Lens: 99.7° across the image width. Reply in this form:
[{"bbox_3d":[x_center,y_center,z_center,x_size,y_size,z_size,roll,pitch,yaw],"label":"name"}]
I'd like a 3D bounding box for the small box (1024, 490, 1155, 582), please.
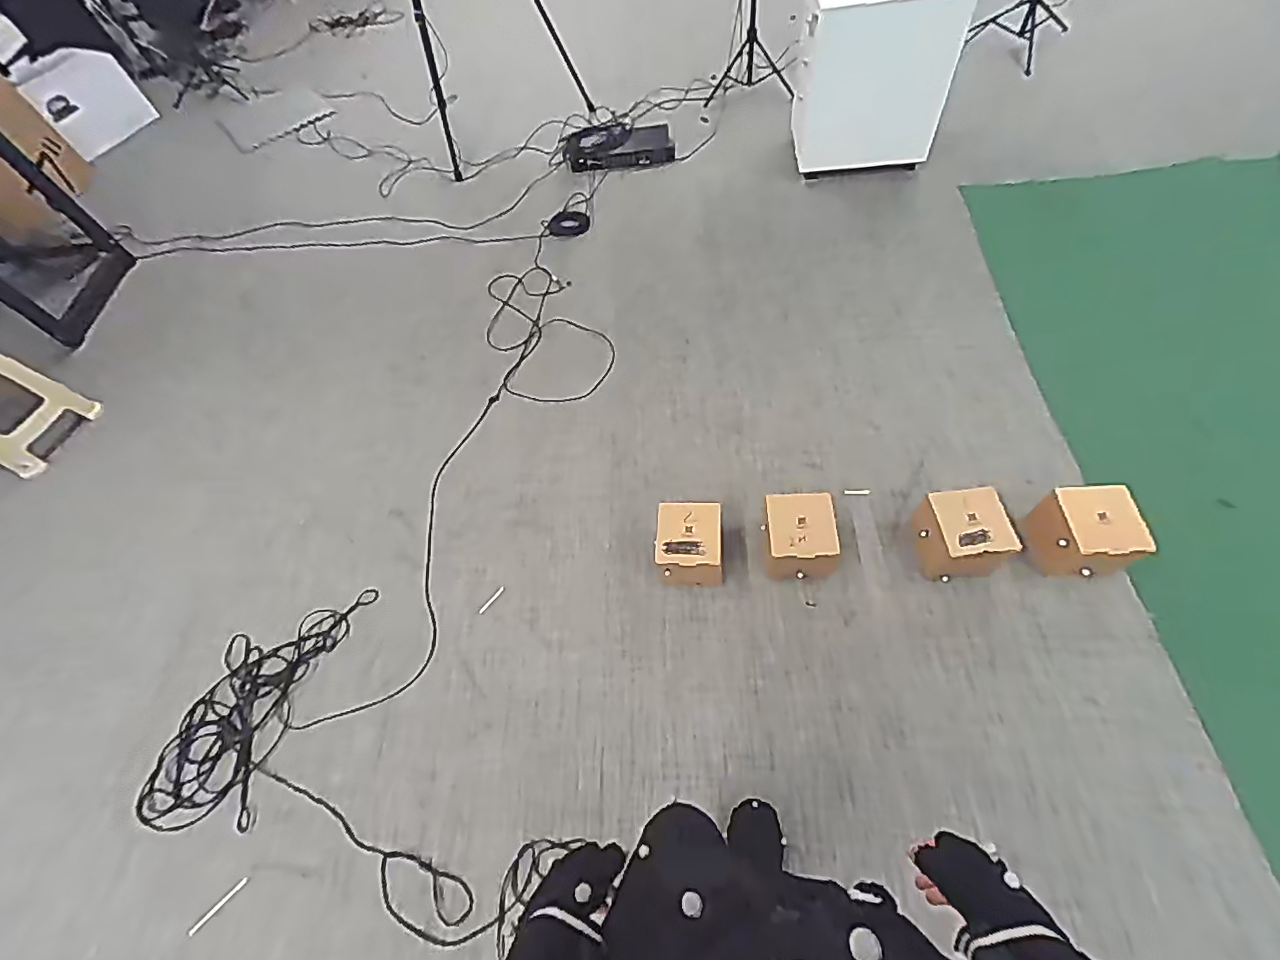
[{"bbox_3d":[1.110,0.143,1.357,0.168,0.176,0.179,-4,59,6],"label":"small box"}]

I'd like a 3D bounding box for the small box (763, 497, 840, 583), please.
[{"bbox_3d":[0.419,0.162,1.434,0.168,0.176,0.179,-2,59,8],"label":"small box"}]

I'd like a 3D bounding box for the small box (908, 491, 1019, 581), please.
[{"bbox_3d":[0.819,0.151,1.389,0.168,0.176,0.179,-6,58,3],"label":"small box"}]
